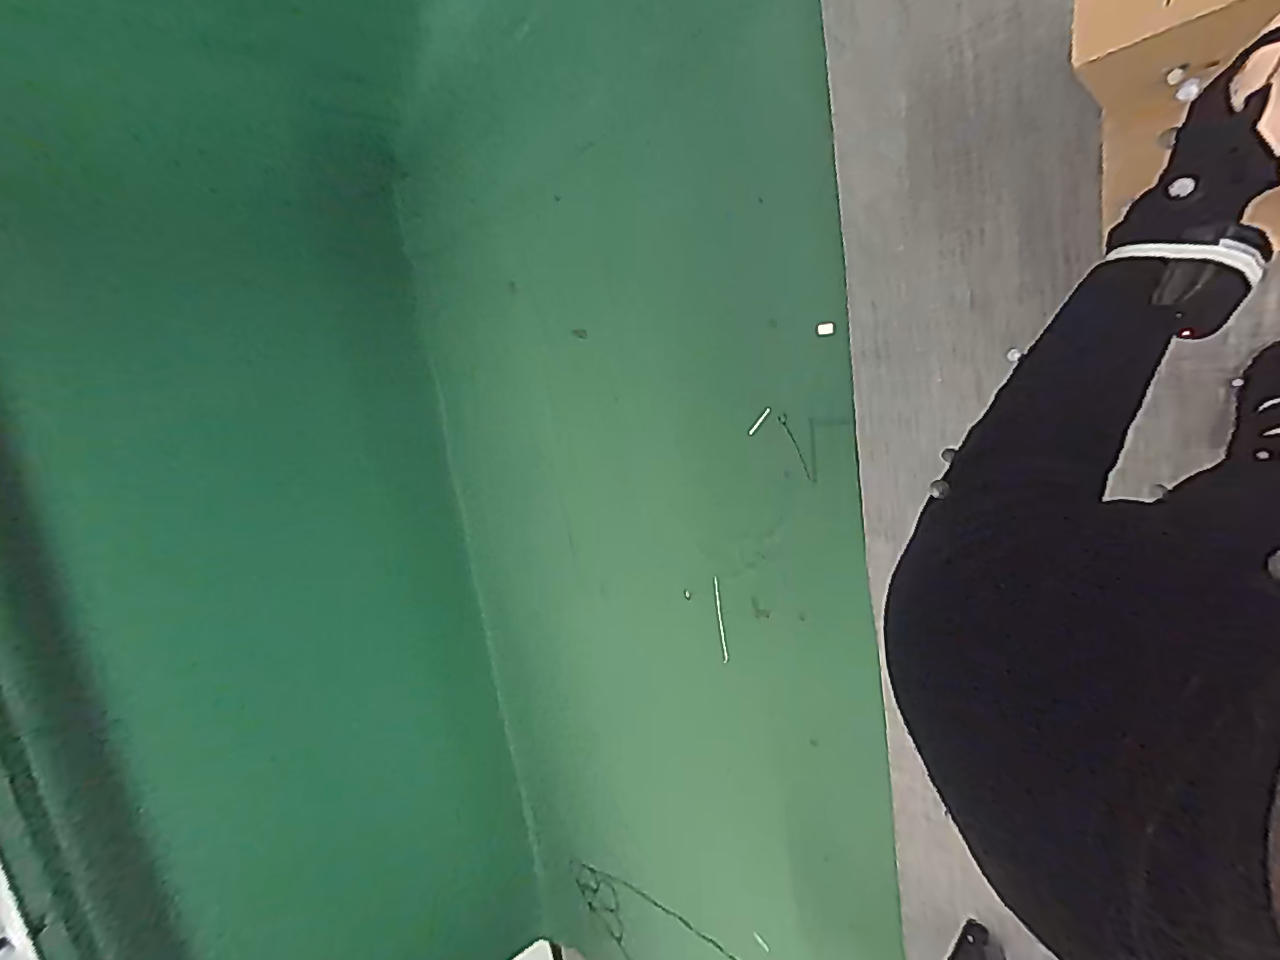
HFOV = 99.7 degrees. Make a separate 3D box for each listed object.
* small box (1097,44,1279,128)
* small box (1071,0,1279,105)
[{"bbox_3d":[0.726,-0.607,0.712,0.168,0.176,0.179,3,101,50],"label":"small box"},{"bbox_3d":[0.607,-0.566,0.603,0.168,0.176,0.179,6,104,50],"label":"small box"}]
